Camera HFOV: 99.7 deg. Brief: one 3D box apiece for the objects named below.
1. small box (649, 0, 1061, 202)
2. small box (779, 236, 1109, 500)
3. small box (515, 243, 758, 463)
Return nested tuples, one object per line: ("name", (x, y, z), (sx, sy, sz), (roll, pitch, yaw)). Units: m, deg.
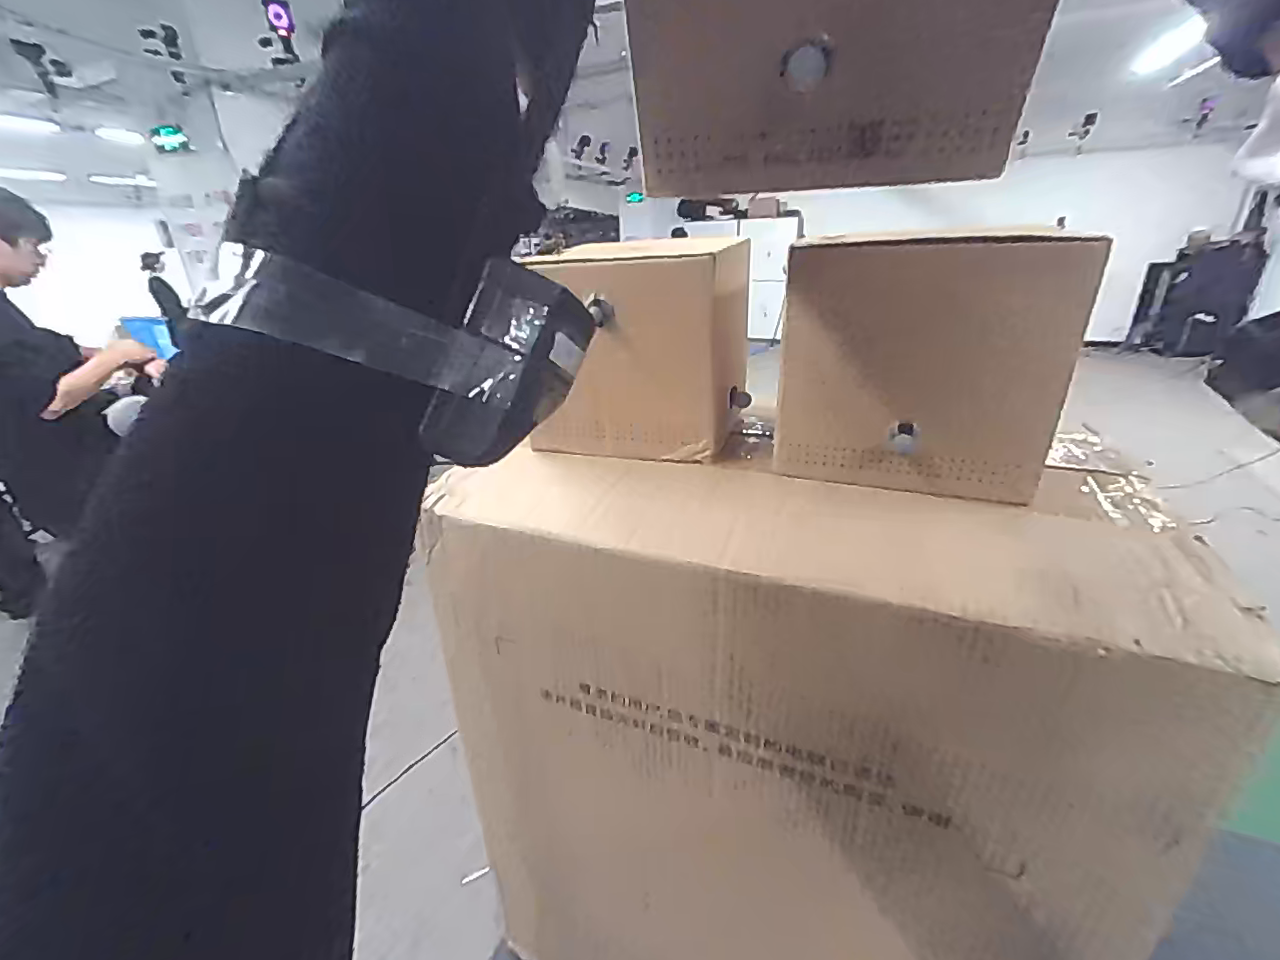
("small box", (0.098, -0.256, 0.268), (0.168, 0.176, 0.179), (4, 47, 15))
("small box", (0.215, -0.097, 0.431), (0.179, 0.176, 0.168), (7, 26, 20))
("small box", (0.009, -0.125, 0.511), (0.179, 0.176, 0.168), (6, 28, 19))
